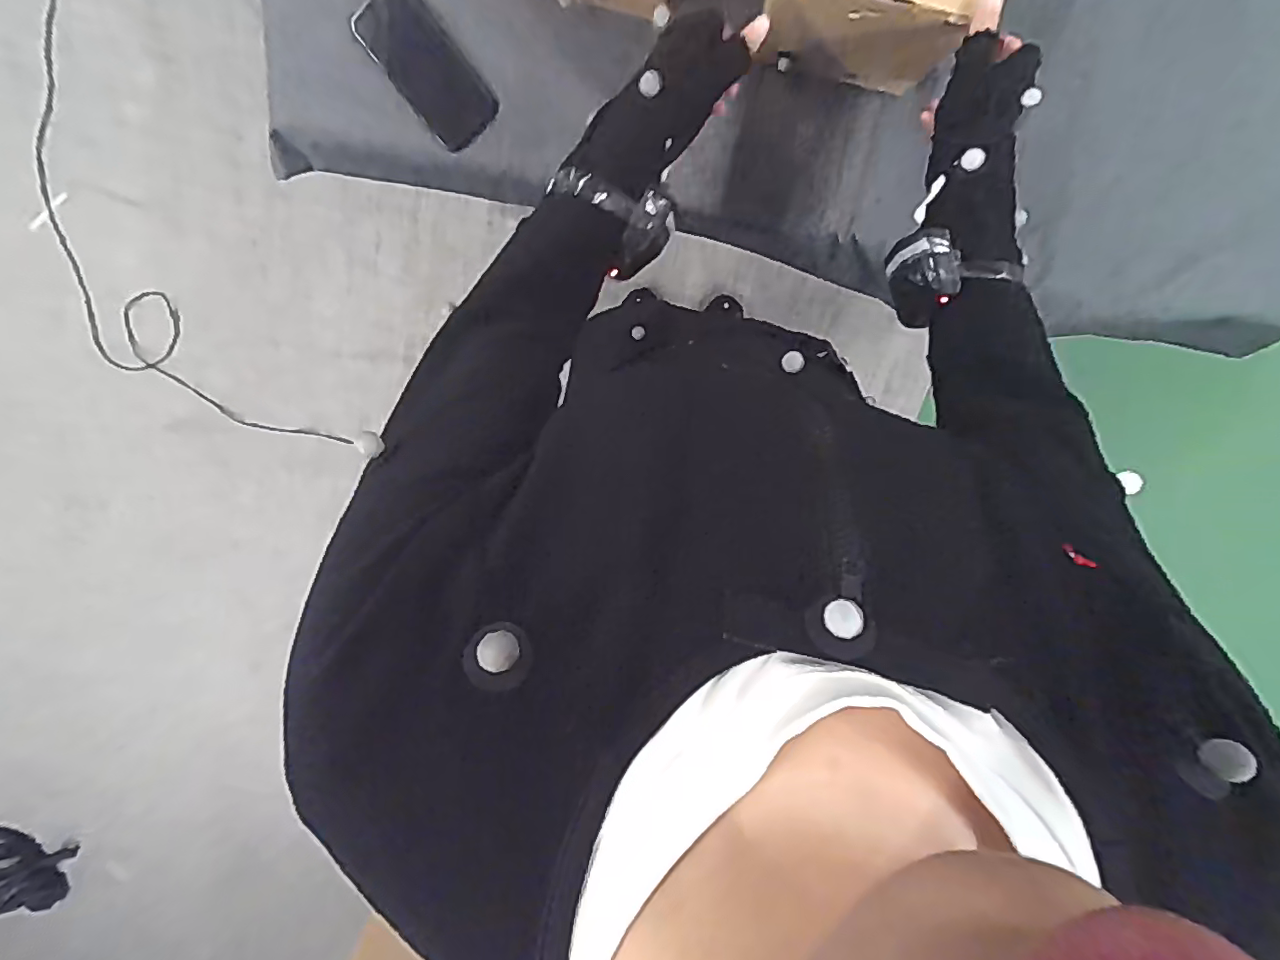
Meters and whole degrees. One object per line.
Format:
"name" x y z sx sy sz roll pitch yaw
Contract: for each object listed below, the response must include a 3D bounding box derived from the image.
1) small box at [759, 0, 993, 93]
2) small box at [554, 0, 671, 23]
"small box" 0.211 -0.473 0.466 0.168 0.176 0.179 12 108 -2
"small box" -0.040 -0.538 0.453 0.168 0.176 0.179 11 111 -1
